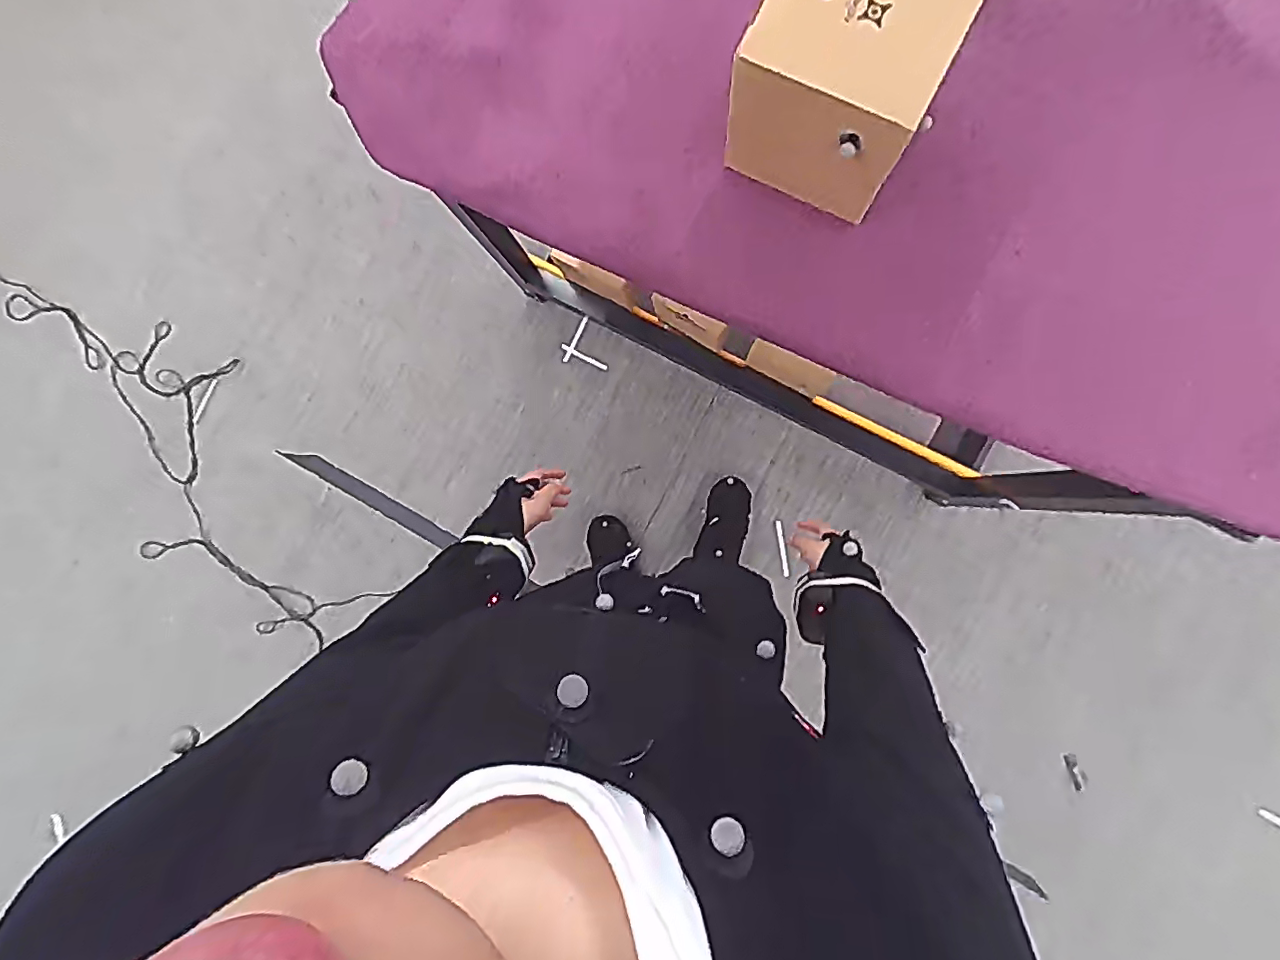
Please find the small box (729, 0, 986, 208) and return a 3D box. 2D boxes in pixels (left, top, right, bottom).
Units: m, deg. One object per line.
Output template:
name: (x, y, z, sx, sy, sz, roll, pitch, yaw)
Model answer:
small box: (0.206, -0.412, 0.547, 0.179, 0.176, 0.168, 28, 91, 6)
